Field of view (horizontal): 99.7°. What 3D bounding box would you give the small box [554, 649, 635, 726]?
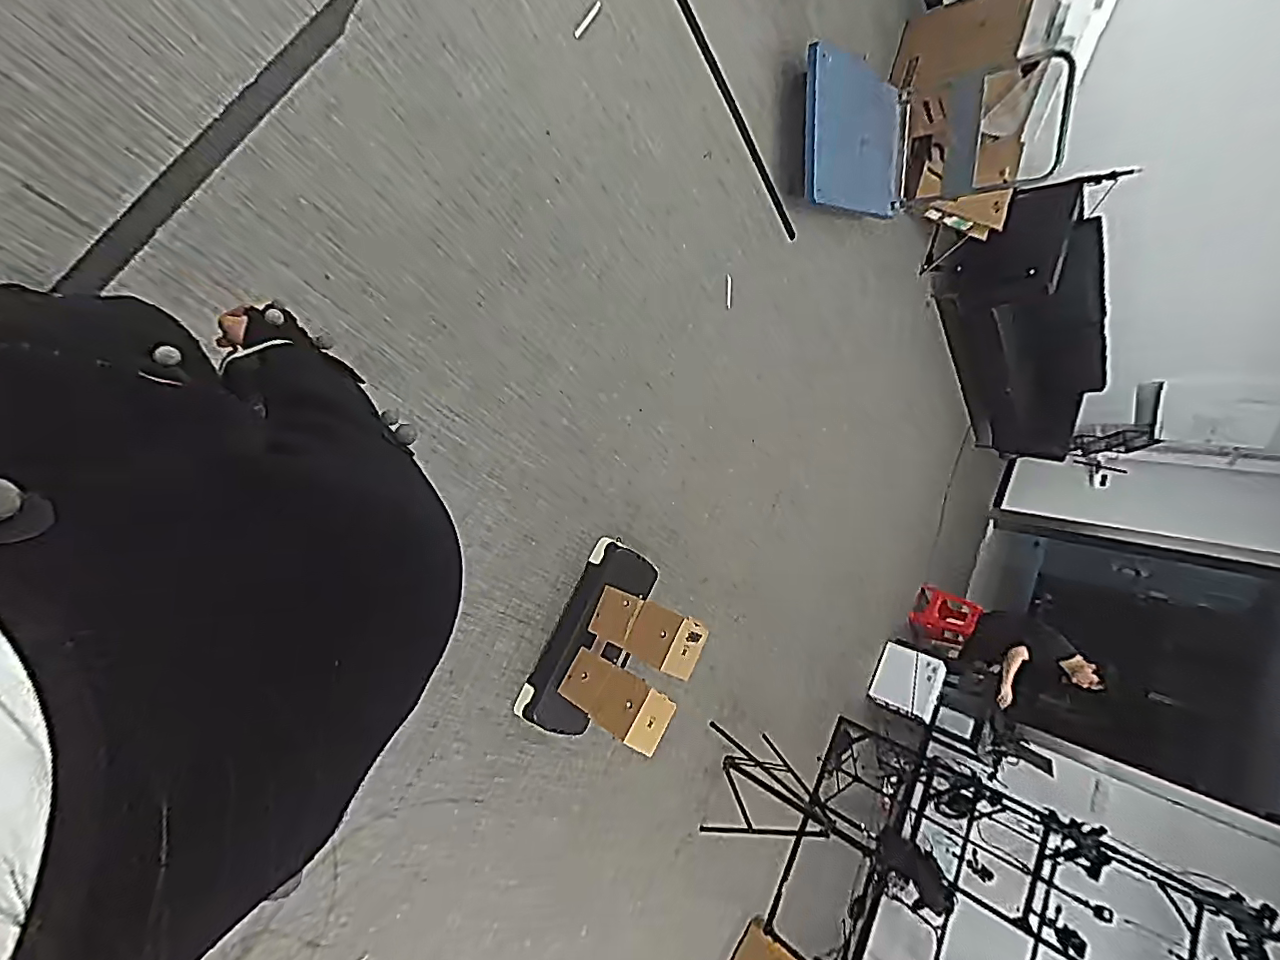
[{"bbox_3d":[-0.155,0.685,1.799,0.179,0.176,0.168,46,67,-41],"label":"small box"}]
